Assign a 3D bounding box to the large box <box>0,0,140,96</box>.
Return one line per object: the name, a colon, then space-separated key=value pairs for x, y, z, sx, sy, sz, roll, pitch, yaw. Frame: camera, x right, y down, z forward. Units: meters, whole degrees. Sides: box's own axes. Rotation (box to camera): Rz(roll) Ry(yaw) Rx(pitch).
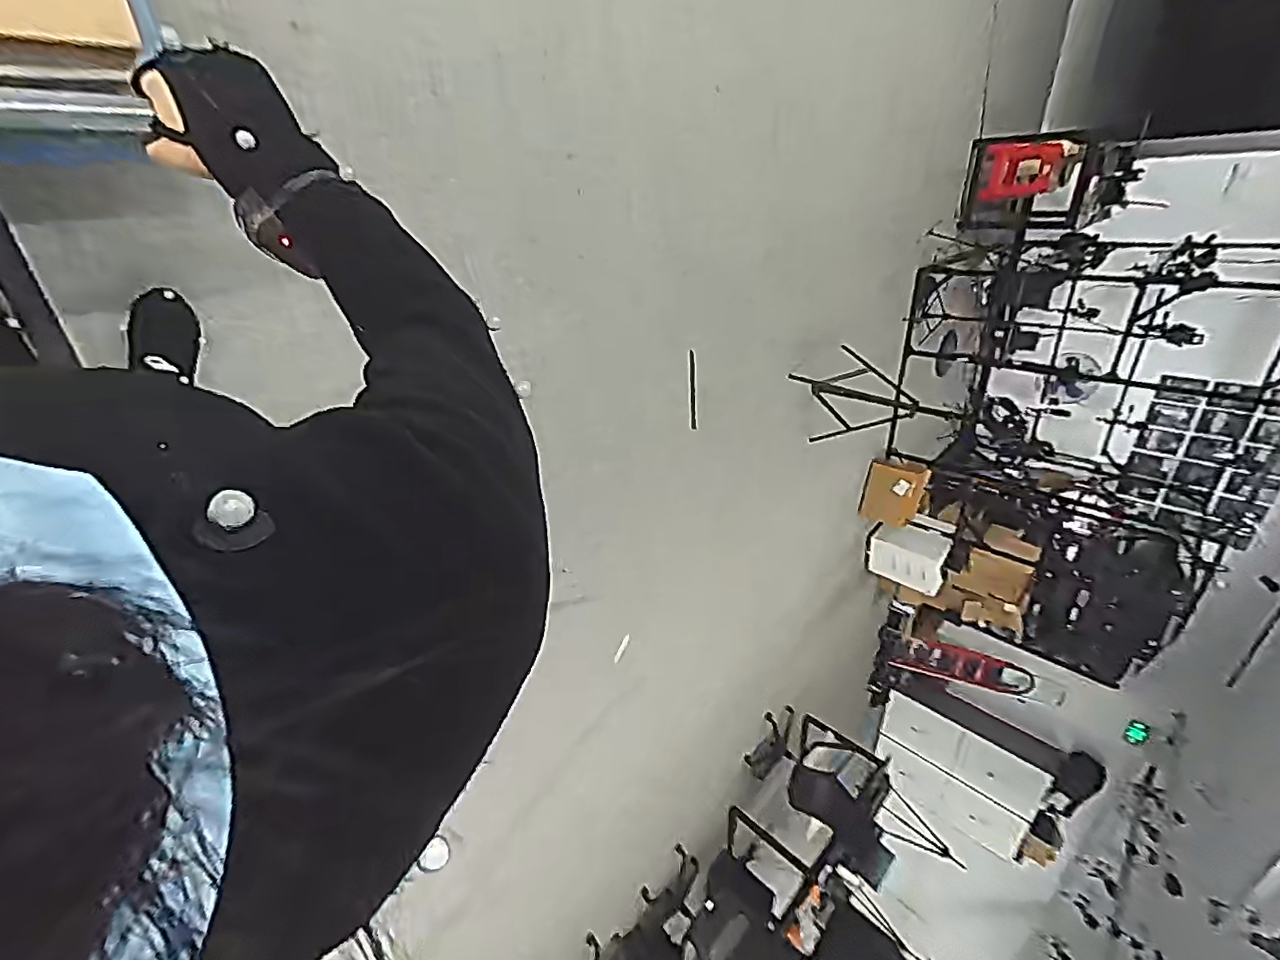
large box: x=-0.847 y=-0.606 z=0.543 sx=0.408 sy=0.320 sz=0.320 roll=-28 pitch=128 yaw=-39
